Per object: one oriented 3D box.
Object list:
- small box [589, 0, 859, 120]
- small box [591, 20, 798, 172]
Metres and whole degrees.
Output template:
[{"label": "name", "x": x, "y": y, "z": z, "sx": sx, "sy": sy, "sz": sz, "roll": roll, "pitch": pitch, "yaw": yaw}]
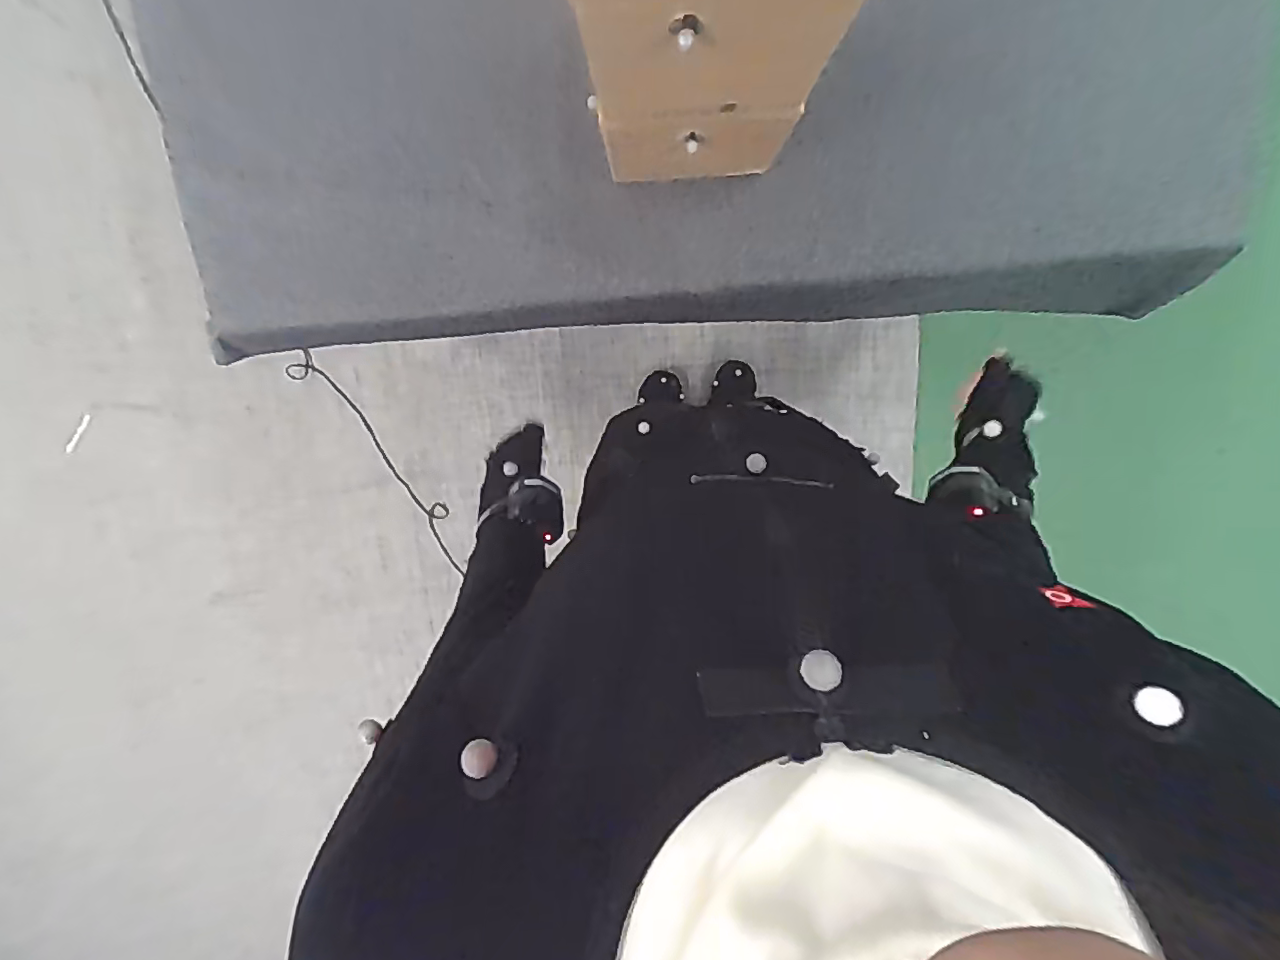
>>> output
[{"label": "small box", "x": 0.045, "y": -0.379, "z": 0.365, "sx": 0.168, "sy": 0.176, "sz": 0.179, "roll": -4, "pitch": 104, "yaw": 2}, {"label": "small box", "x": 0.048, "y": -0.414, "z": 0.522, "sx": 0.179, "sy": 0.176, "sz": 0.168, "roll": -2, "pitch": 104, "yaw": 2}]
